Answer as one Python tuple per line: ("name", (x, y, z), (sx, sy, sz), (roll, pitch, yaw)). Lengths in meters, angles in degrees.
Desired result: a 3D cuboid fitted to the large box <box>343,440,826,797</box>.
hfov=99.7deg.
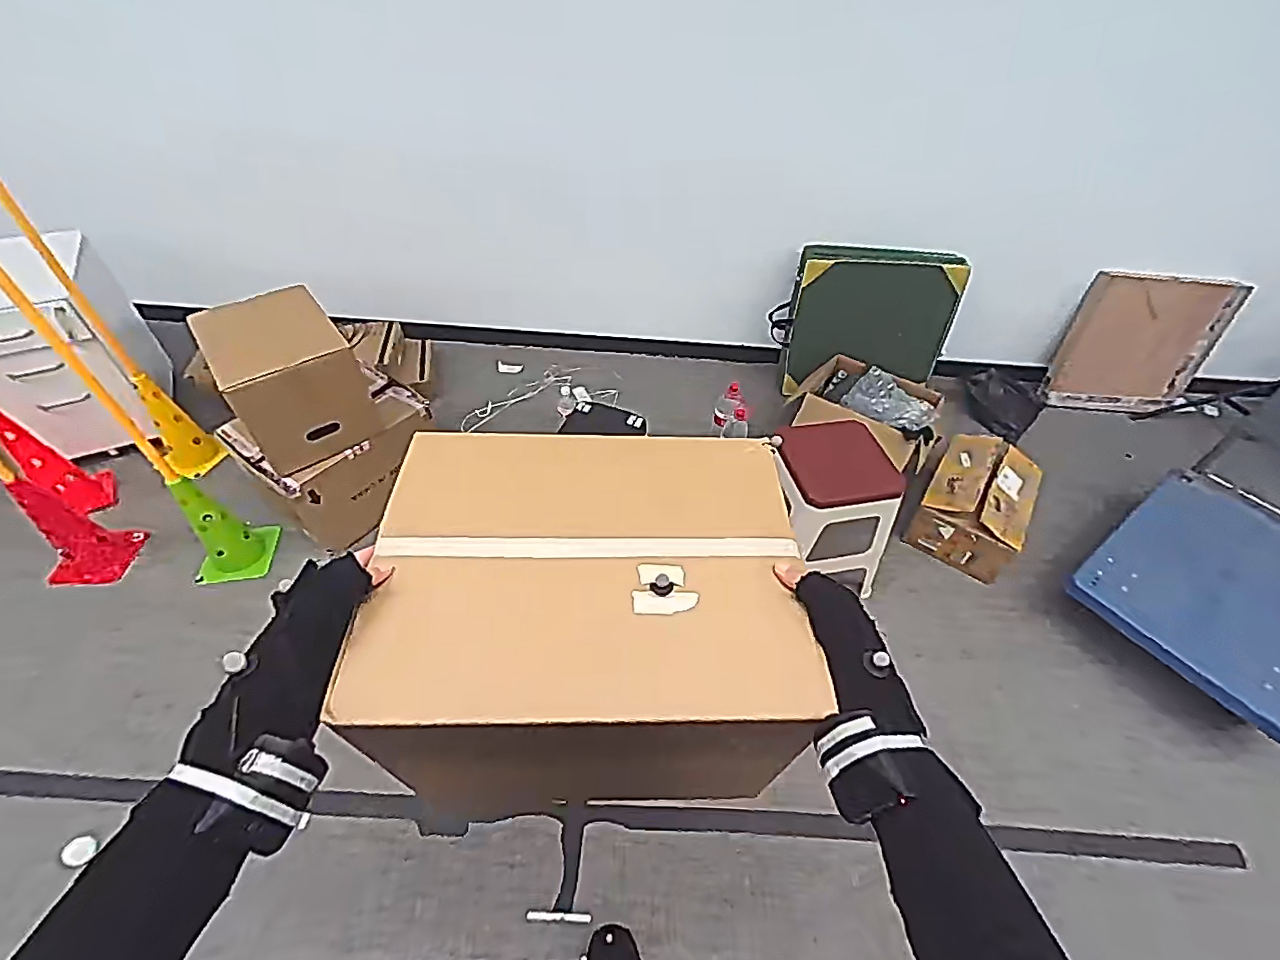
("large box", (-0.054, 0.168, 0.647), (0.408, 0.320, 0.320), (1, 50, -3))
